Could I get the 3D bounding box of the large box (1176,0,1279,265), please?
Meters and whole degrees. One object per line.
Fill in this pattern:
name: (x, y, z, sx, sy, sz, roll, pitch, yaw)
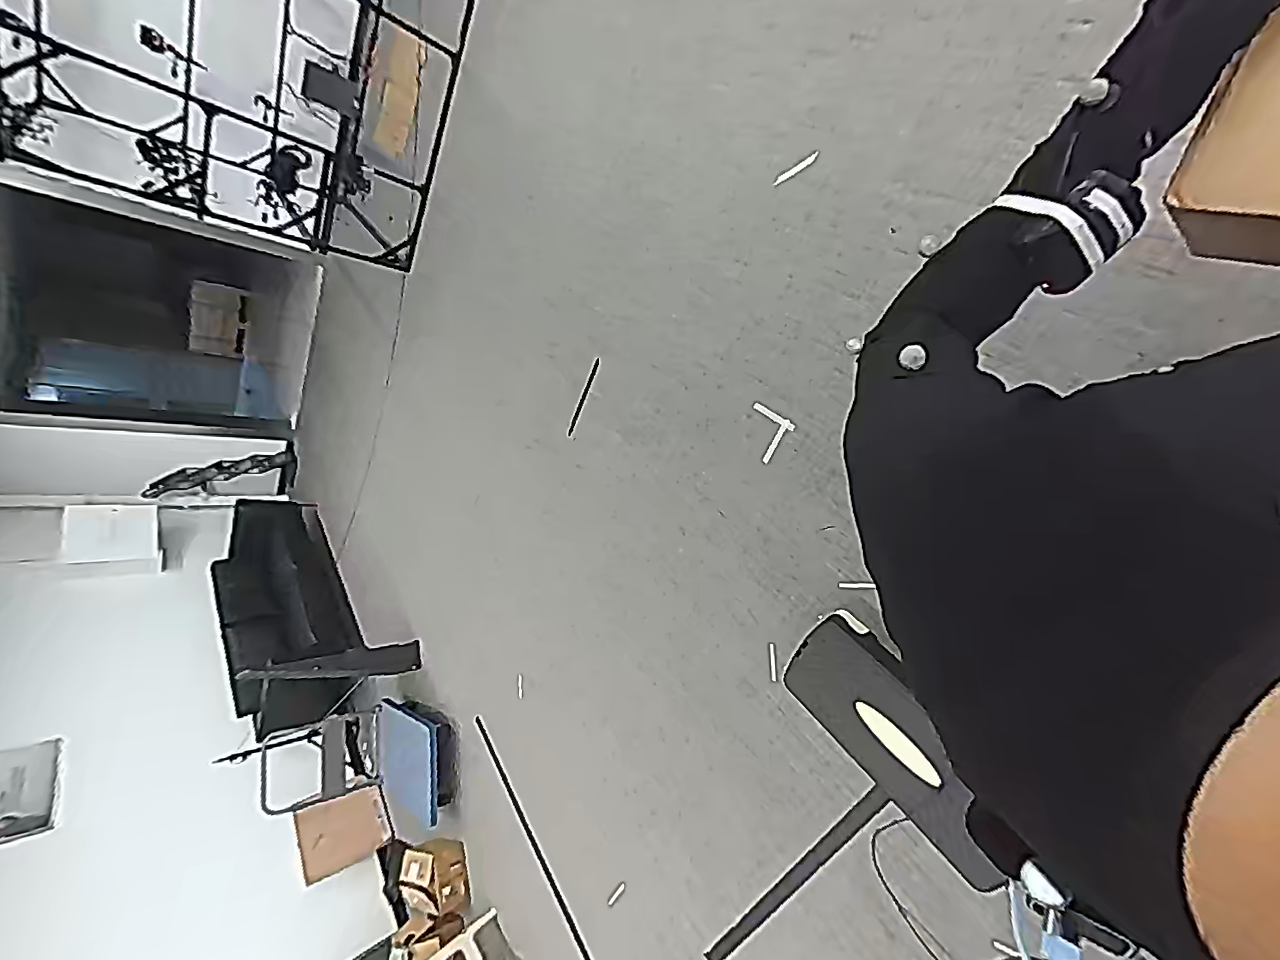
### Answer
large box: (0.654, -0.292, 0.317, 0.408, 0.320, 0.320, 30, 121, 39)
